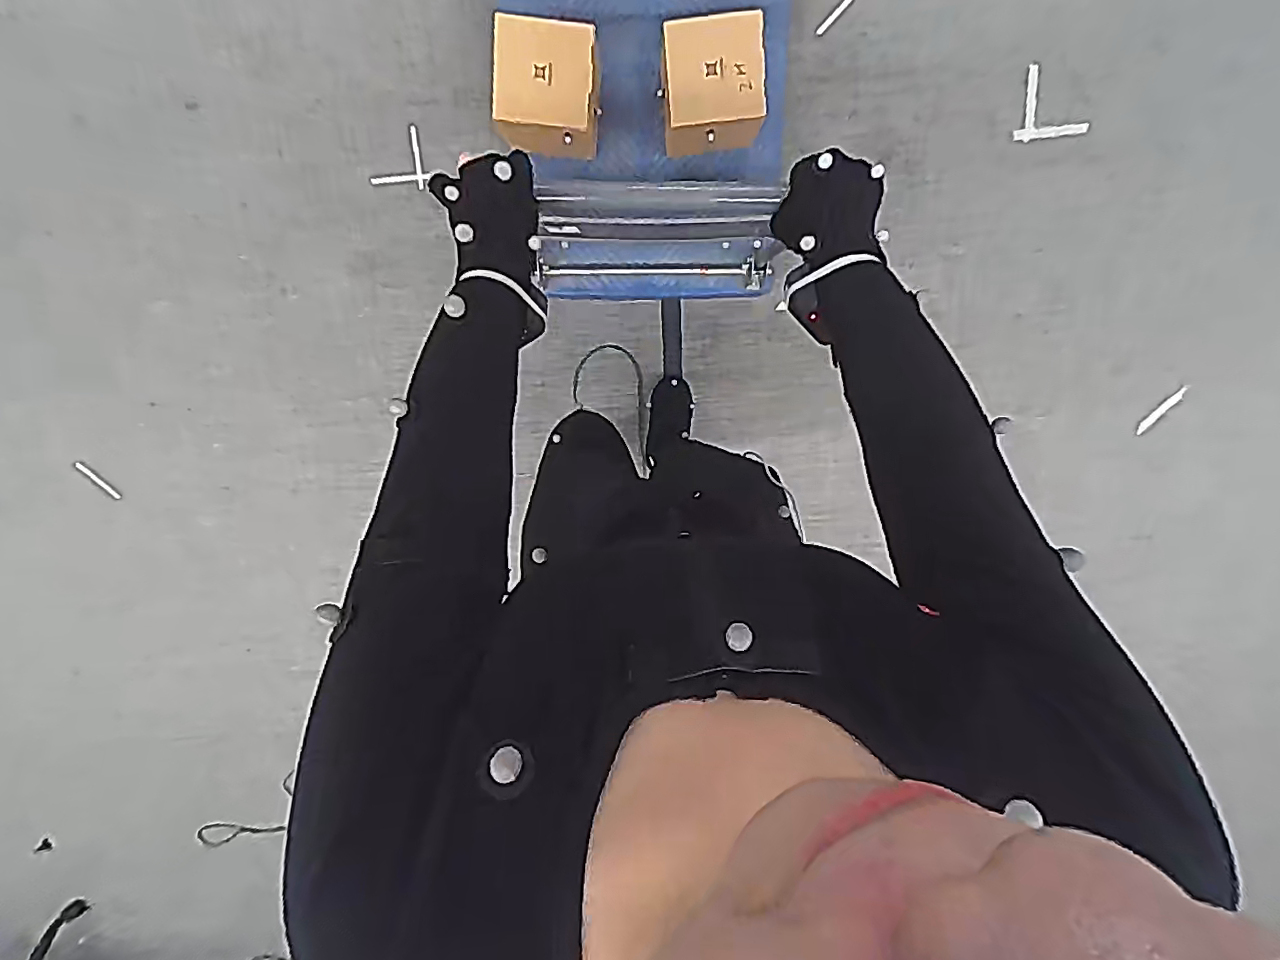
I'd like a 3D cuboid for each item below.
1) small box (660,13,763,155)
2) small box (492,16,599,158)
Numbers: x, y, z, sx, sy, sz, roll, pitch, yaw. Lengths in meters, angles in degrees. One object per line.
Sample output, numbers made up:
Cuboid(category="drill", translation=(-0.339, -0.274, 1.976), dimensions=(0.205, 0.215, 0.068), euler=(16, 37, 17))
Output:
Cuboid(category="small box", translation=(0.131, -0.748, 1.041), dimensions=(0.179, 0.176, 0.168), euler=(-5, 105, 2))
Cuboid(category="small box", translation=(-0.176, -0.744, 1.043), dimensions=(0.179, 0.176, 0.168), euler=(5, 104, -3))
